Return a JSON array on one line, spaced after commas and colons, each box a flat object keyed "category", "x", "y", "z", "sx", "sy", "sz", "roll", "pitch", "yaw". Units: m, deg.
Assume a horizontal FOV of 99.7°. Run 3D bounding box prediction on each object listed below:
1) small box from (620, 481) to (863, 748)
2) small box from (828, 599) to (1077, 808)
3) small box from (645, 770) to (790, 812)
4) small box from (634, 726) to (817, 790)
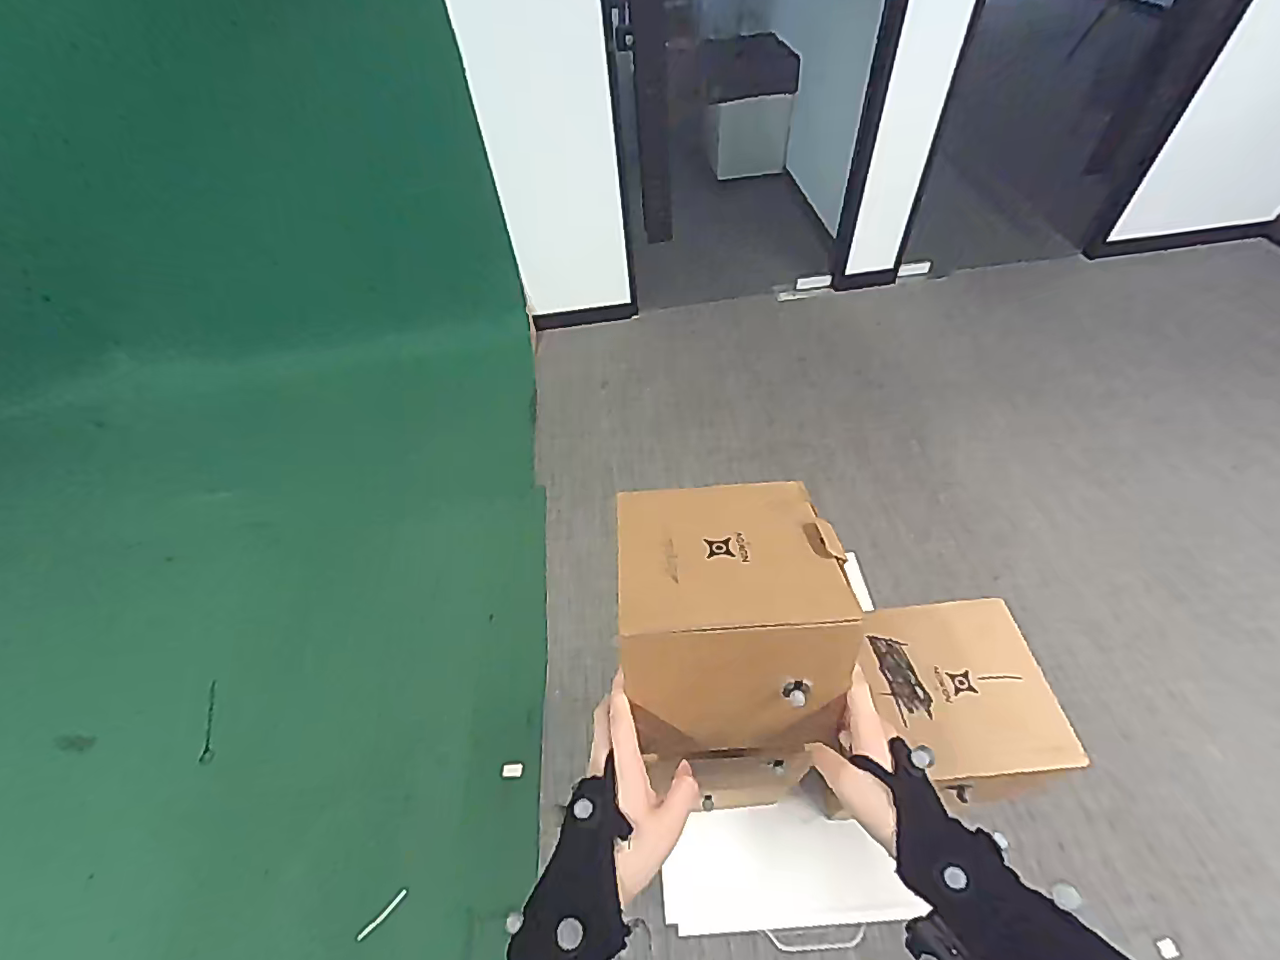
[{"category": "small box", "x": 0.074, "y": 0.120, "z": 0.493, "sx": 0.179, "sy": 0.176, "sz": 0.168, "roll": -4, "pitch": 35, "yaw": 0}, {"category": "small box", "x": 0.309, "y": 0.250, "z": 0.596, "sx": 0.179, "sy": 0.176, "sz": 0.168, "roll": -5, "pitch": 50, "yaw": 2}, {"category": "small box", "x": 0.091, "y": 0.348, "z": 0.749, "sx": 0.179, "sy": 0.176, "sz": 0.168, "roll": -5, "pitch": 50, "yaw": -1}, {"category": "small box", "x": 0.082, "y": 0.245, "z": 0.622, "sx": 0.179, "sy": 0.176, "sz": 0.168, "roll": -3, "pitch": 50, "yaw": 0}]
